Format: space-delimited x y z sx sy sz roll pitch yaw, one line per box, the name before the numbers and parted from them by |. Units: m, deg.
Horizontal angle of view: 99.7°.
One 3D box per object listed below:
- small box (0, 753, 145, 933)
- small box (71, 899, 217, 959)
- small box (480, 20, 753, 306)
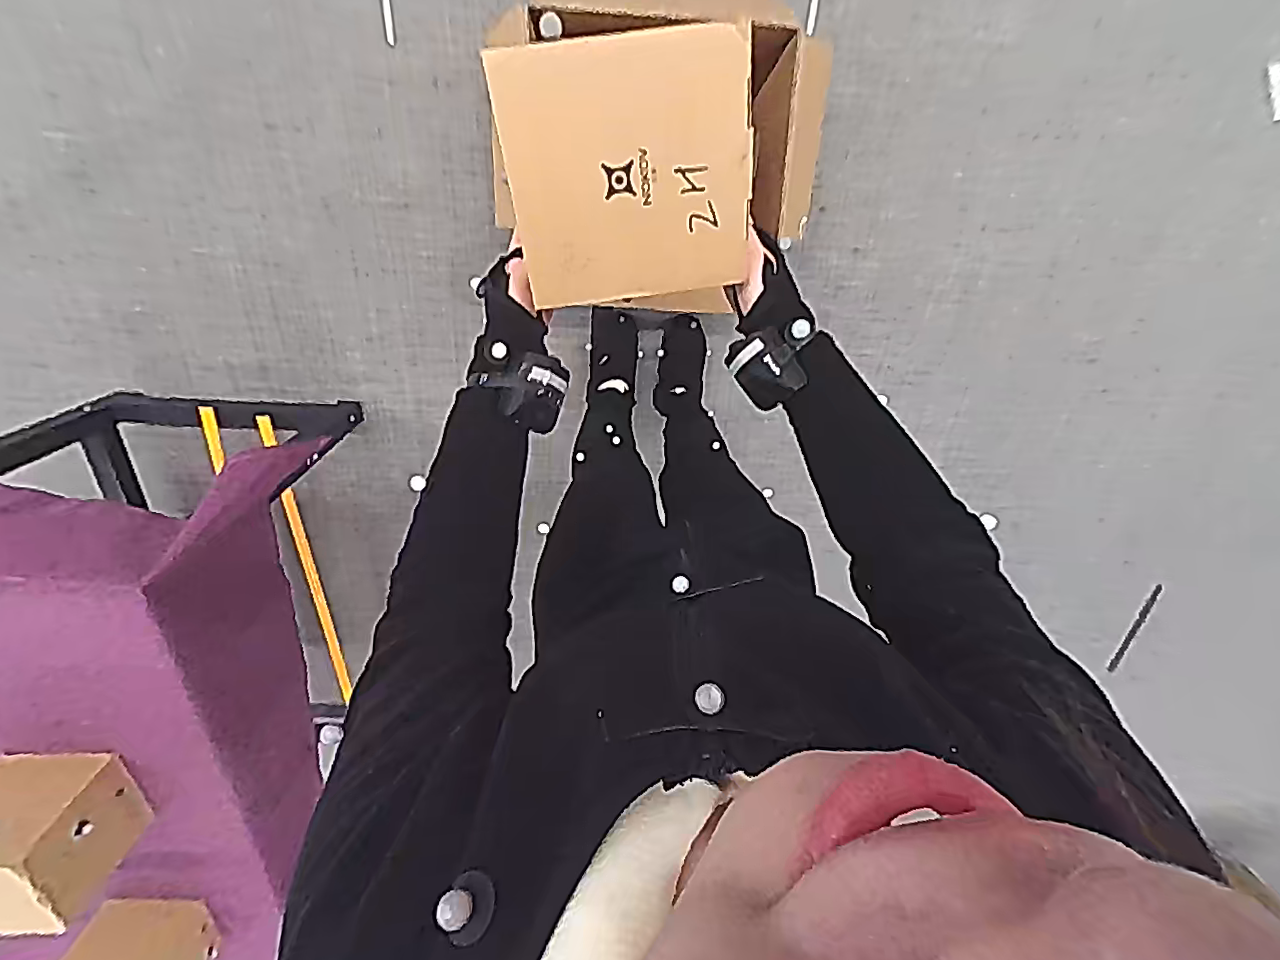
small box | -0.891 0.527 0.797 0.179 0.176 0.168 2 117 -3
small box | -0.922 0.903 0.990 0.179 0.176 0.168 5 117 -5
small box | -0.015 -0.258 0.448 0.179 0.176 0.168 -8 126 -2
